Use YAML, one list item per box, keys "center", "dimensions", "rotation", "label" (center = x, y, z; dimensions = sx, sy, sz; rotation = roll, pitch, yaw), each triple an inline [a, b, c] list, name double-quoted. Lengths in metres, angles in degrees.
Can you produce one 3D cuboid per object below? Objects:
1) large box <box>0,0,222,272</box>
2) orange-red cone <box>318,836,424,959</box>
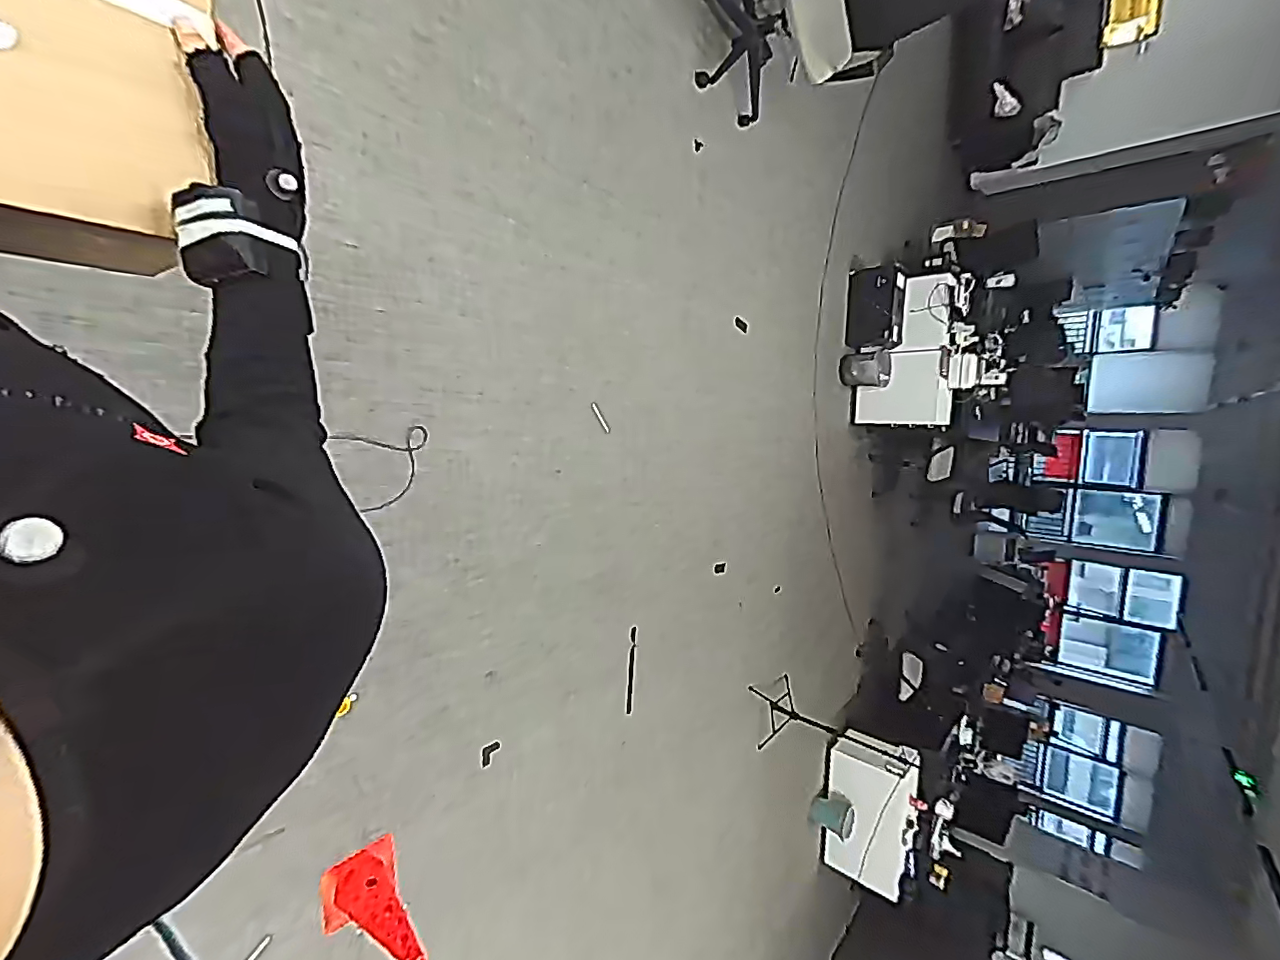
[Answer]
- center: [-0.582, -0.352, 0.368]
  dimensions: [0.408, 0.320, 0.320]
  rotation: [-7, 105, -50]
  label: "large box"
- center: [-0.683, 1.170, 1.442]
  dimensions: [0.198, 0.360, 0.199]
  rotation: [-8, 100, -49]
  label: "orange-red cone"
